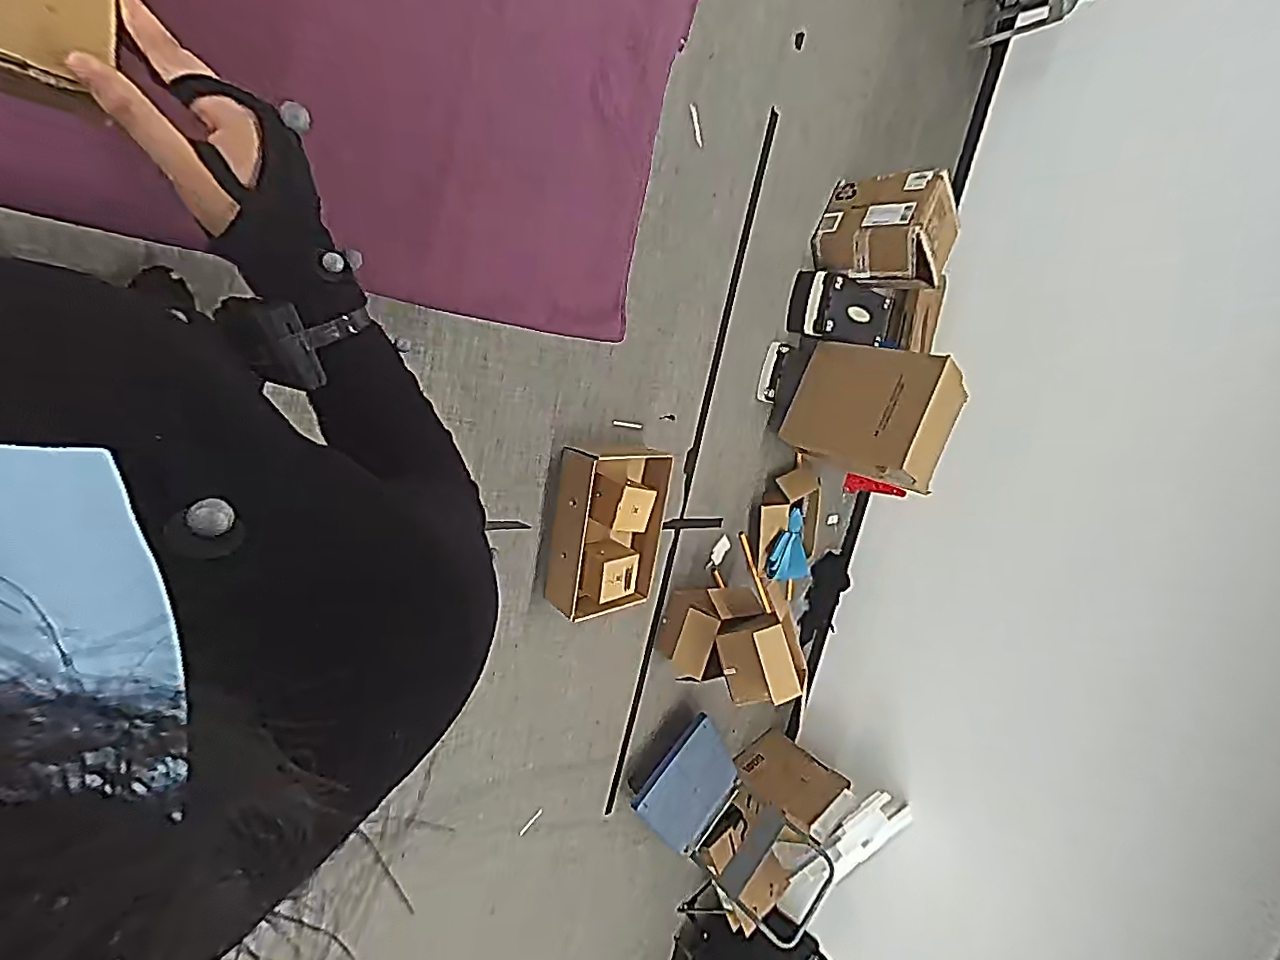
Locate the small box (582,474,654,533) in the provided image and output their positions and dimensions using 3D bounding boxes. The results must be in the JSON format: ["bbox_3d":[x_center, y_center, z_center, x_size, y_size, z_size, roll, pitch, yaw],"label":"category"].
[{"bbox_3d":[-0.083,0.085,1.998,0.179,0.176,0.168,10,100,-47],"label":"small box"}]

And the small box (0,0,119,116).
[{"bbox_3d":[-0.365,-0.308,0.259,0.168,0.176,0.179,0,110,-46],"label":"small box"}]
